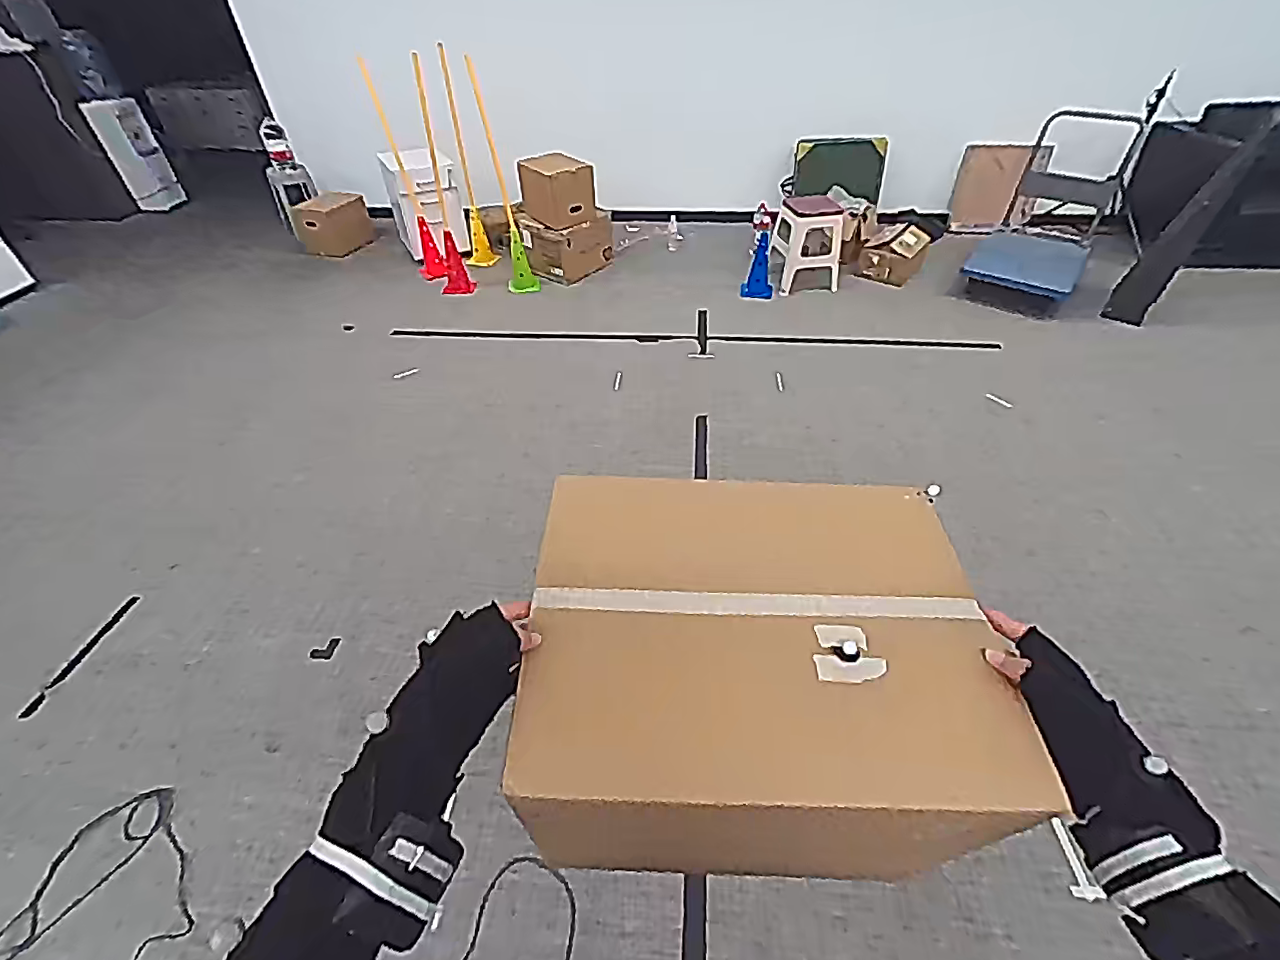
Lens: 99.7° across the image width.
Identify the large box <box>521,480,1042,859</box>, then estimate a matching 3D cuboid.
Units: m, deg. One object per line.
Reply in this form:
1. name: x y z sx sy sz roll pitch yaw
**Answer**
1. large box: 0.102 0.217 0.611 0.408 0.320 0.320 2 47 -1
